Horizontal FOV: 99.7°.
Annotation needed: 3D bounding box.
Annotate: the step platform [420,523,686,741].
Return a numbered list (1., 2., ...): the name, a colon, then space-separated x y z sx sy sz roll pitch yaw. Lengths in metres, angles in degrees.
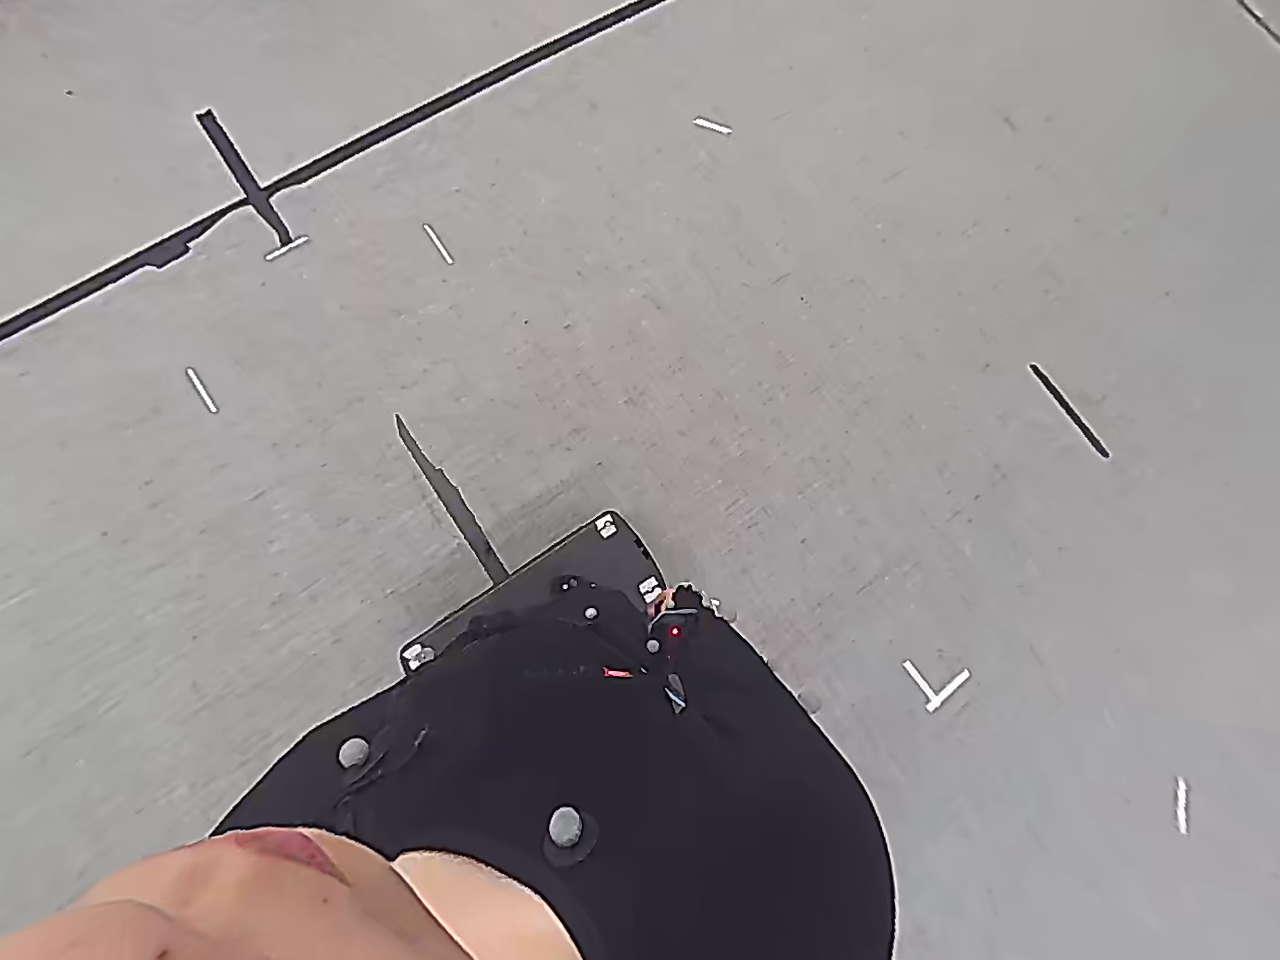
1. step platform: -0.218 0.388 1.446 0.684 0.204 0.286 -29 83 -11
